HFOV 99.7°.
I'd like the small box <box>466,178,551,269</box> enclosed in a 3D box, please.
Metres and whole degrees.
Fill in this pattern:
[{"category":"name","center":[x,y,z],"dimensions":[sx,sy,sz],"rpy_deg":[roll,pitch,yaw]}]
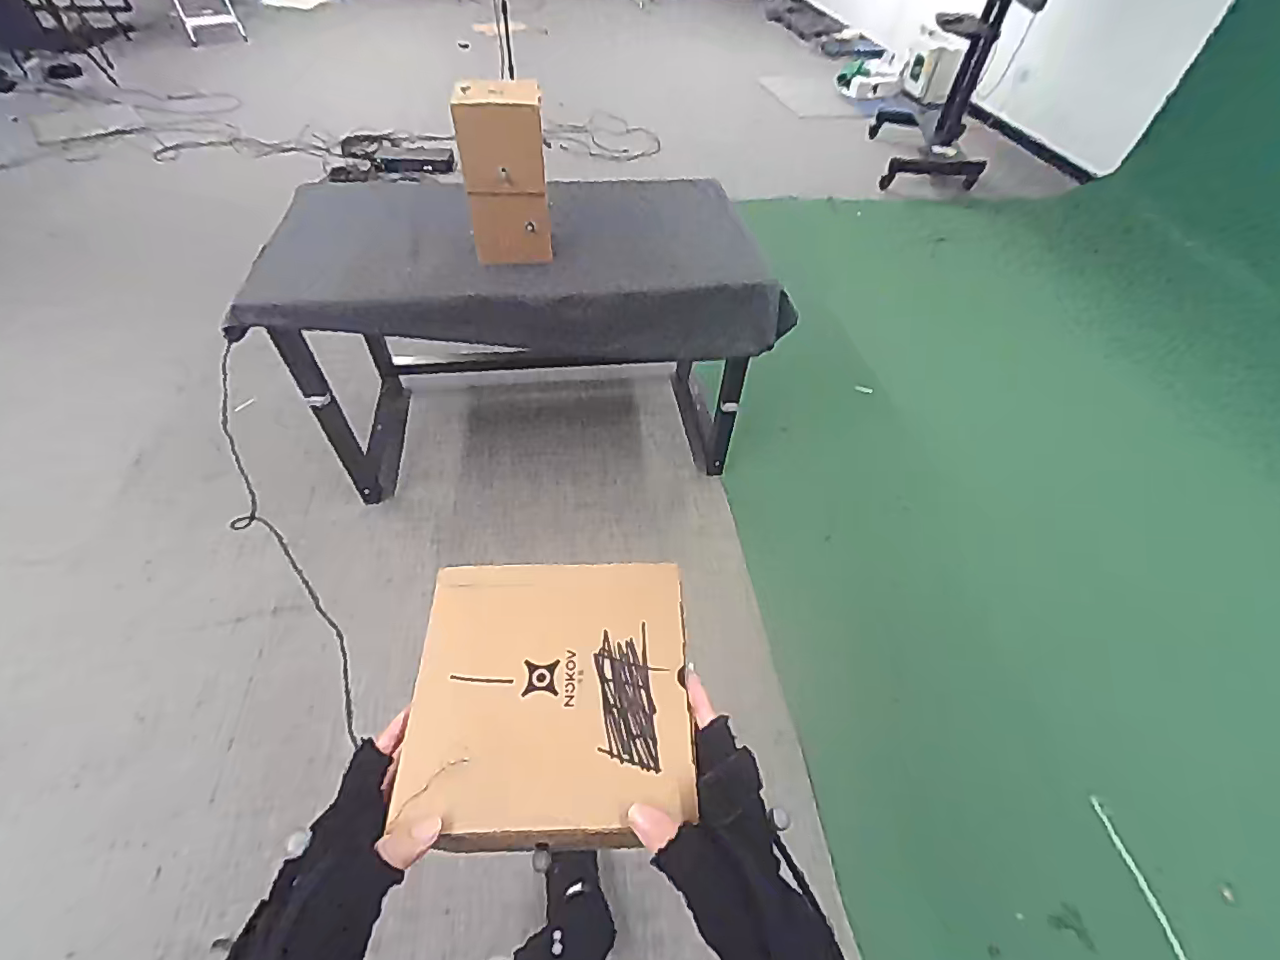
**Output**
[{"category":"small box","center":[-0.310,-0.627,1.302],"dimensions":[0.179,0.176,0.168],"rpy_deg":[-6,49,-7]}]

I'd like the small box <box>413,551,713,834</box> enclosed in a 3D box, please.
[{"category":"small box","center":[-0.054,0.168,0.422],"dimensions":[0.179,0.176,0.168],"rpy_deg":[-2,54,-6]}]

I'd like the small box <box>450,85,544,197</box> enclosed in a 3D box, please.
[{"category":"small box","center":[-0.301,-0.732,1.177],"dimensions":[0.179,0.176,0.168],"rpy_deg":[-3,49,-7]}]
